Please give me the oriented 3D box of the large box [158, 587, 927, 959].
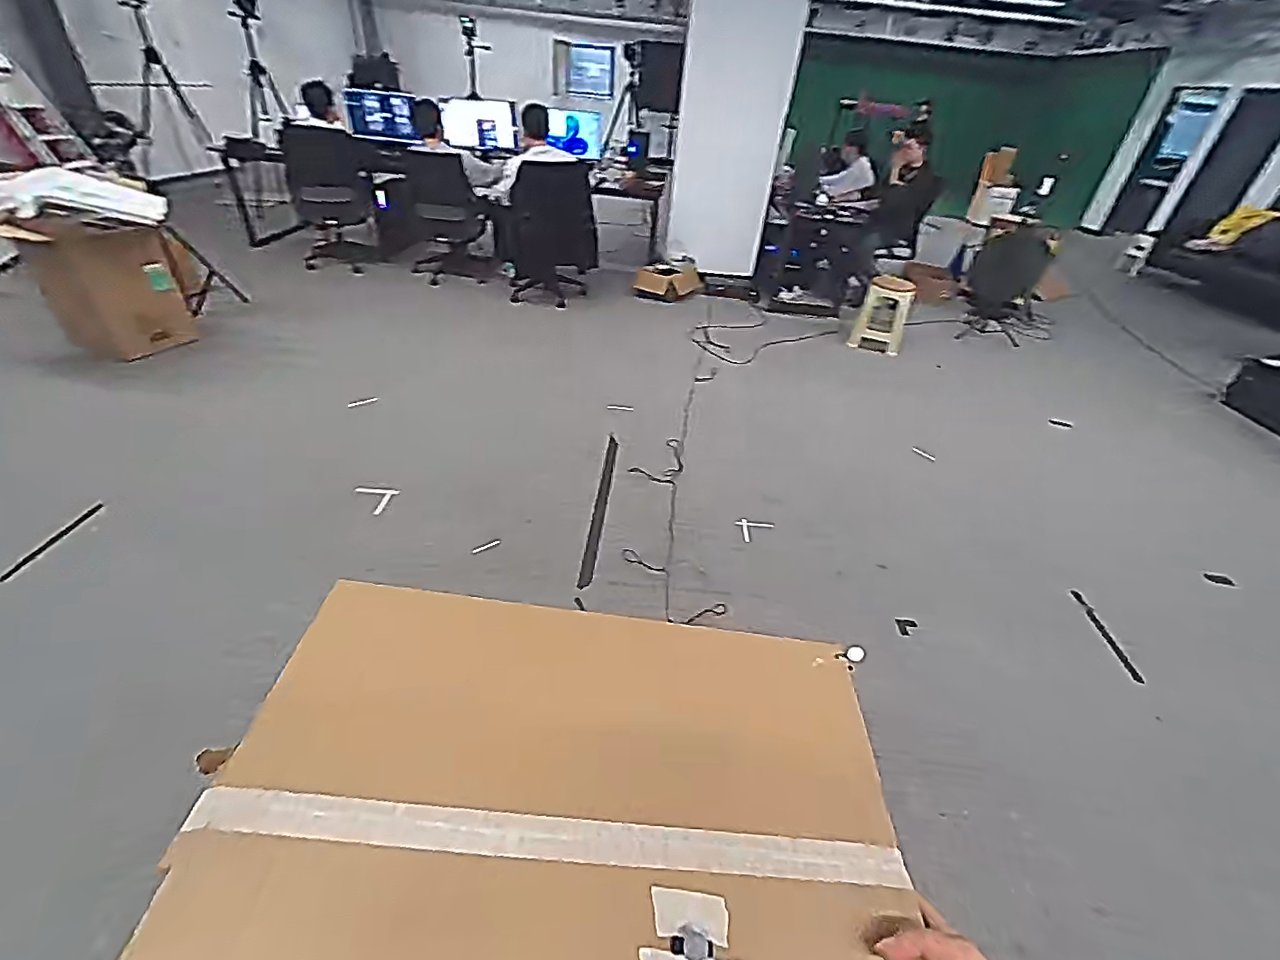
[{"bbox_3d":[-0.058,0.322,0.420,0.408,0.320,0.320,10,42,-5],"label":"large box"}]
